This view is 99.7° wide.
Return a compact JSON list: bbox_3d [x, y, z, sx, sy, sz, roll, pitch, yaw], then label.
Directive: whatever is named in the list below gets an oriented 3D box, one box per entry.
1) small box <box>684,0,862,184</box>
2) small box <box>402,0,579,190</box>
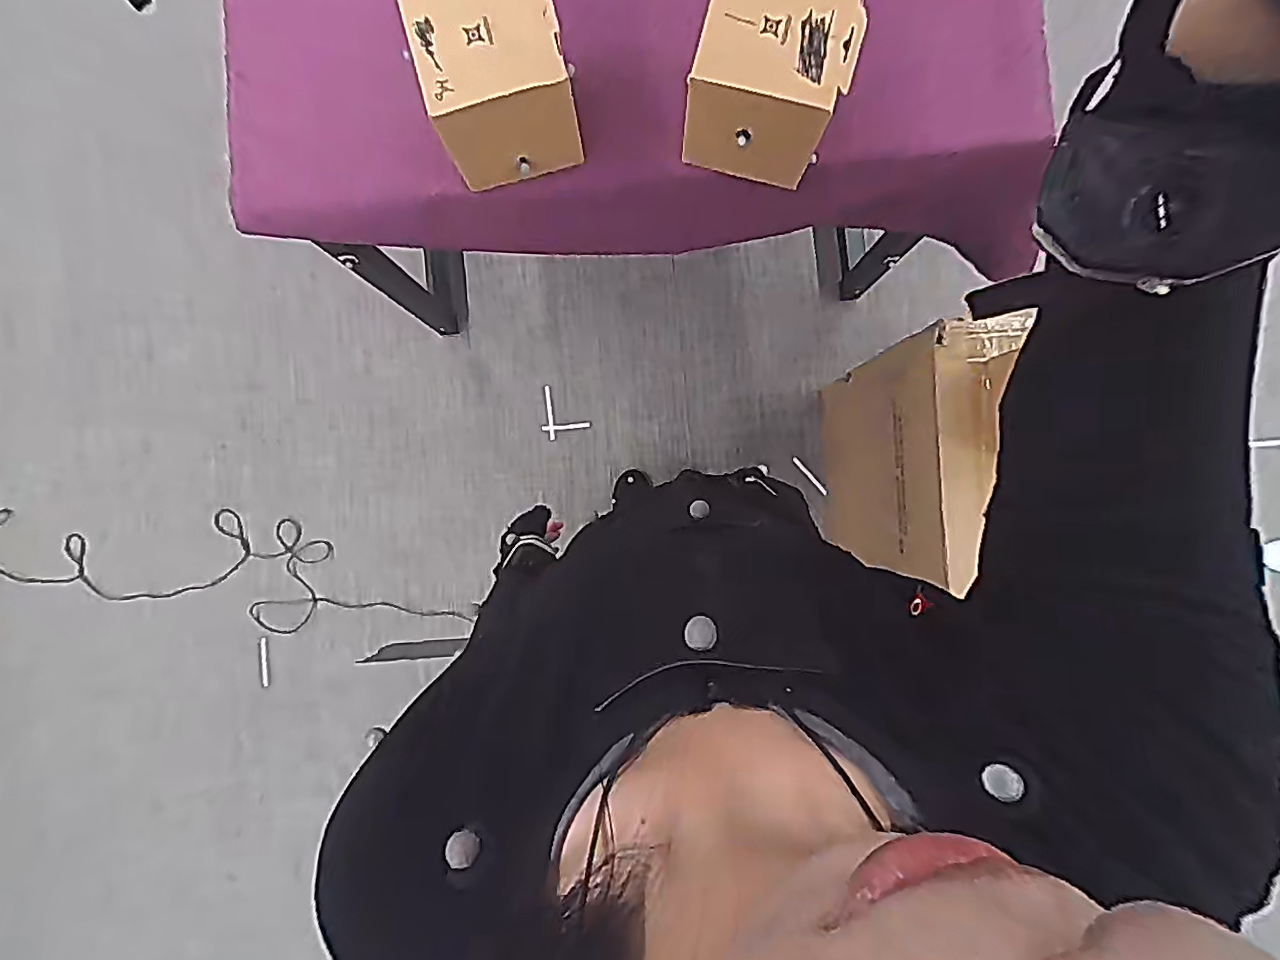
[{"bbox_3d":[0.165,-0.529,0.721,0.179,0.176,0.168,15,88,2],"label":"small box"},{"bbox_3d":[-0.186,-0.530,0.728,0.179,0.176,0.168,-15,88,0],"label":"small box"}]
